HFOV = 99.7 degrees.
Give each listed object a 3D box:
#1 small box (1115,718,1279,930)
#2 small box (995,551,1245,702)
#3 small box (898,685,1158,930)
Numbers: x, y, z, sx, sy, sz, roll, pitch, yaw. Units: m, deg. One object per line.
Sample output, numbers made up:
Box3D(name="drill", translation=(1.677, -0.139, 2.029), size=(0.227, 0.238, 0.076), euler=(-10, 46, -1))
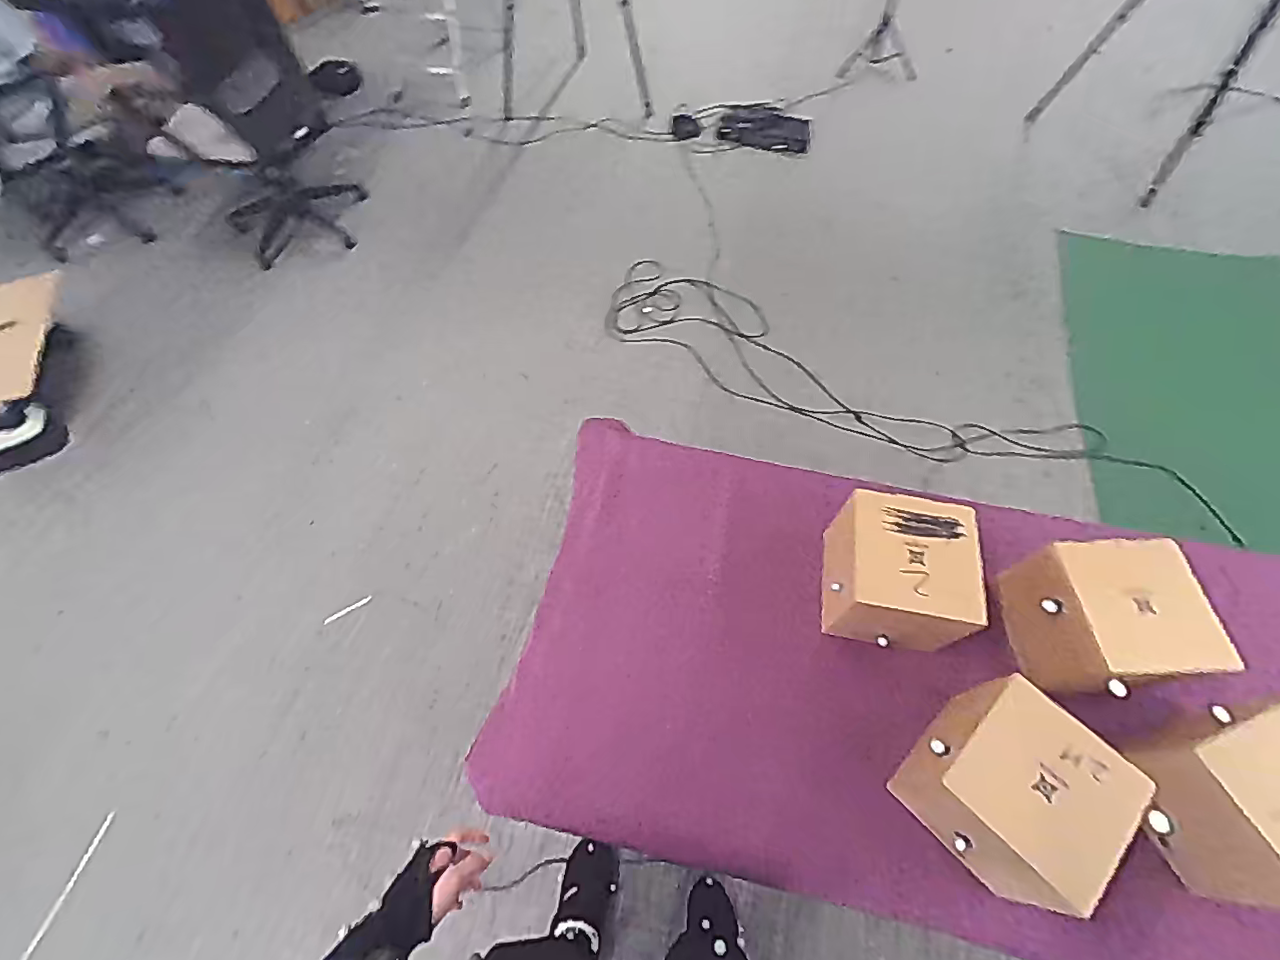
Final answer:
Box3D(name="small box", translation=(0.731, 0.399, 0.647), size=(0.179, 0.176, 0.168), euler=(-18, 60, -8))
Box3D(name="small box", translation=(0.649, 0.212, 0.761), size=(0.168, 0.176, 0.179), euler=(-1, 59, 1))
Box3D(name="small box", translation=(0.447, 0.386, 0.657), size=(0.179, 0.176, 0.168), euler=(-37, 65, -20))
